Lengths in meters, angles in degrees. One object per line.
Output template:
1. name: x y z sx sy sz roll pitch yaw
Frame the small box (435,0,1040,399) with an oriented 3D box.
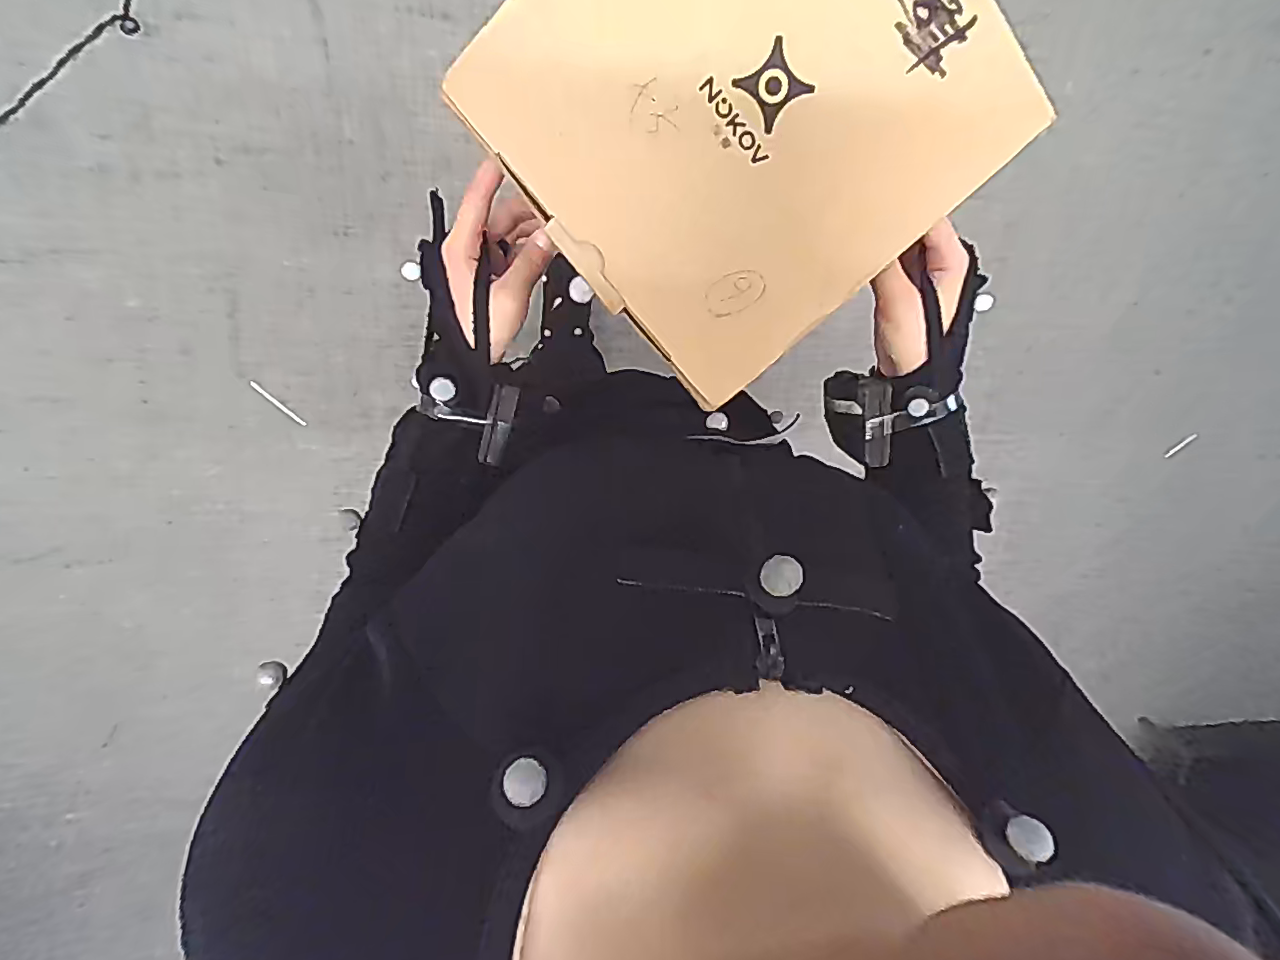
1. small box: 0.038 -0.169 0.281 0.179 0.176 0.168 -40 104 11
